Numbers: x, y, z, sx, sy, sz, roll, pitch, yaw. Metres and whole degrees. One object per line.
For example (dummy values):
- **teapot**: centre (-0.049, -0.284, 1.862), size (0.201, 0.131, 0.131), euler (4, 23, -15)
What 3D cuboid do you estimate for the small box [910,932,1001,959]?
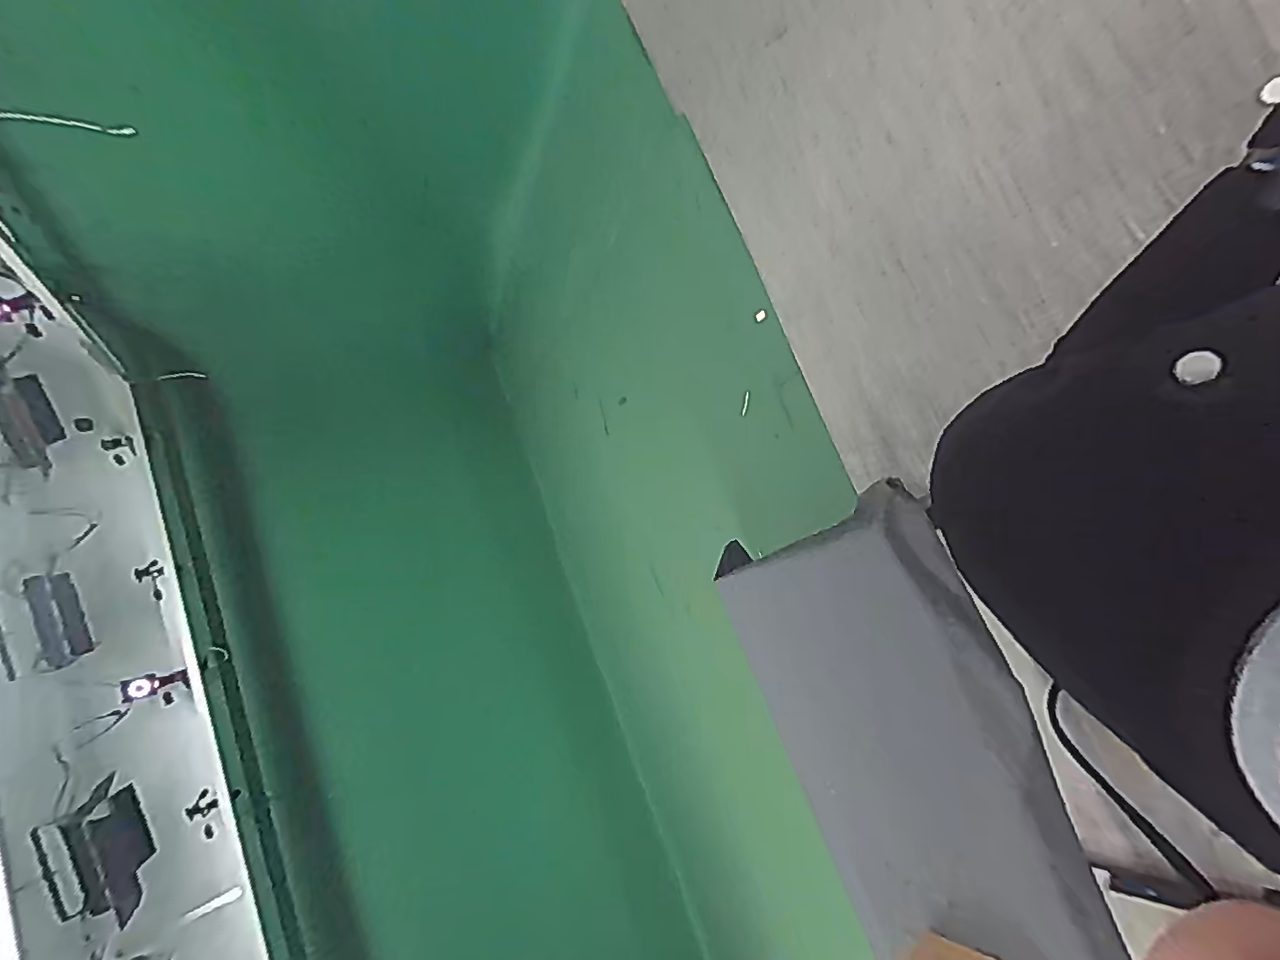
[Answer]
- **small box**: centre (0.643, 1.053, 1.070), size (0.179, 0.176, 0.168), euler (-42, 68, 58)
